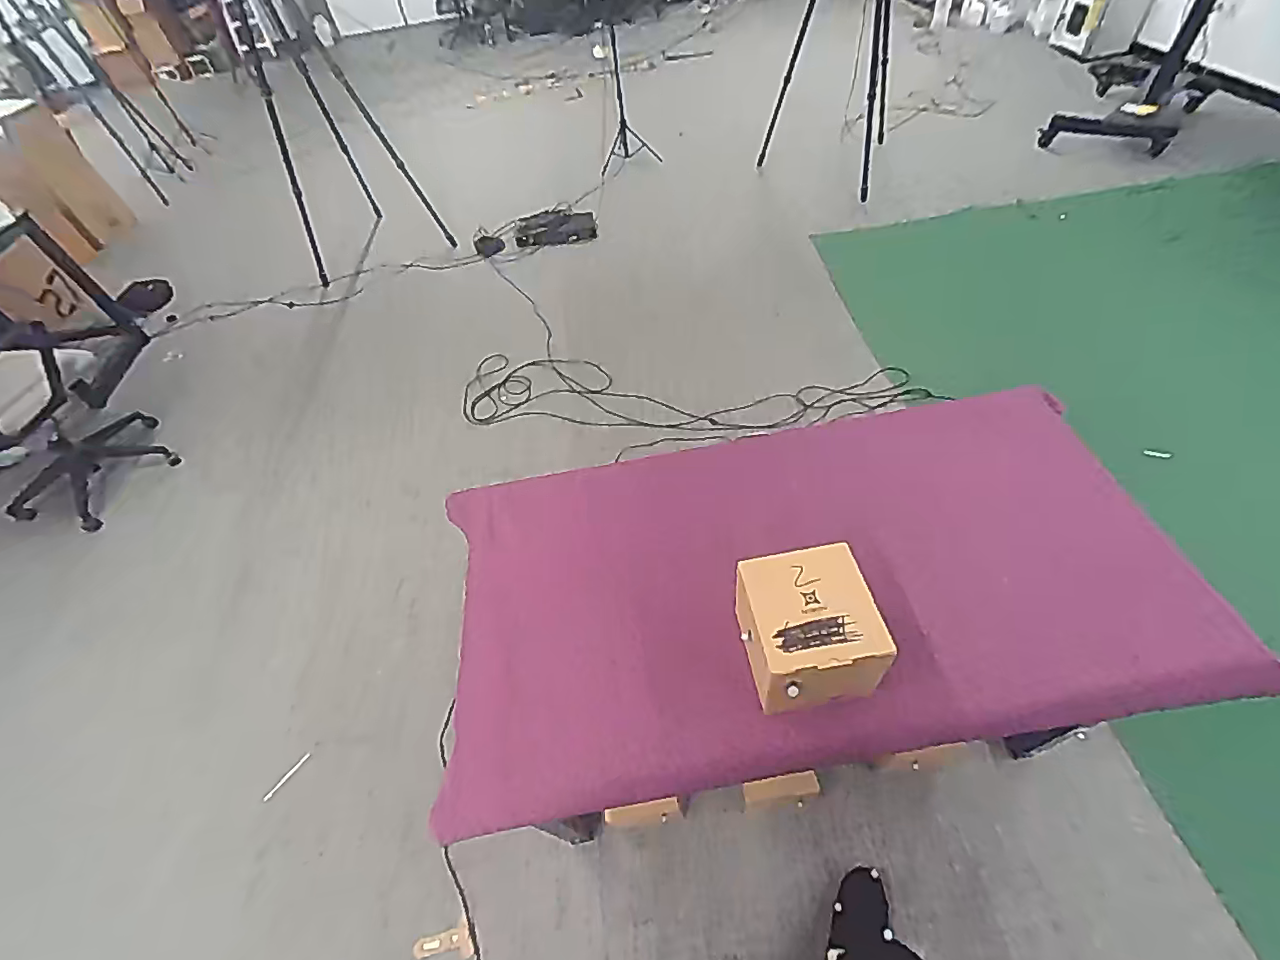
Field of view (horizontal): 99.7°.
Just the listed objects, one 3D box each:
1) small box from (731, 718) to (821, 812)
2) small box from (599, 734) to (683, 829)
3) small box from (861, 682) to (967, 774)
[{"bbox_3d":[0.325,0.707,1.335,0.179,0.176,0.168,-10,50,1],"label":"small box"},{"bbox_3d":[0.004,0.755,1.348,0.179,0.176,0.168,-10,51,0],"label":"small box"},{"bbox_3d":[0.668,0.622,1.349,0.179,0.176,0.168,-8,51,3],"label":"small box"}]
